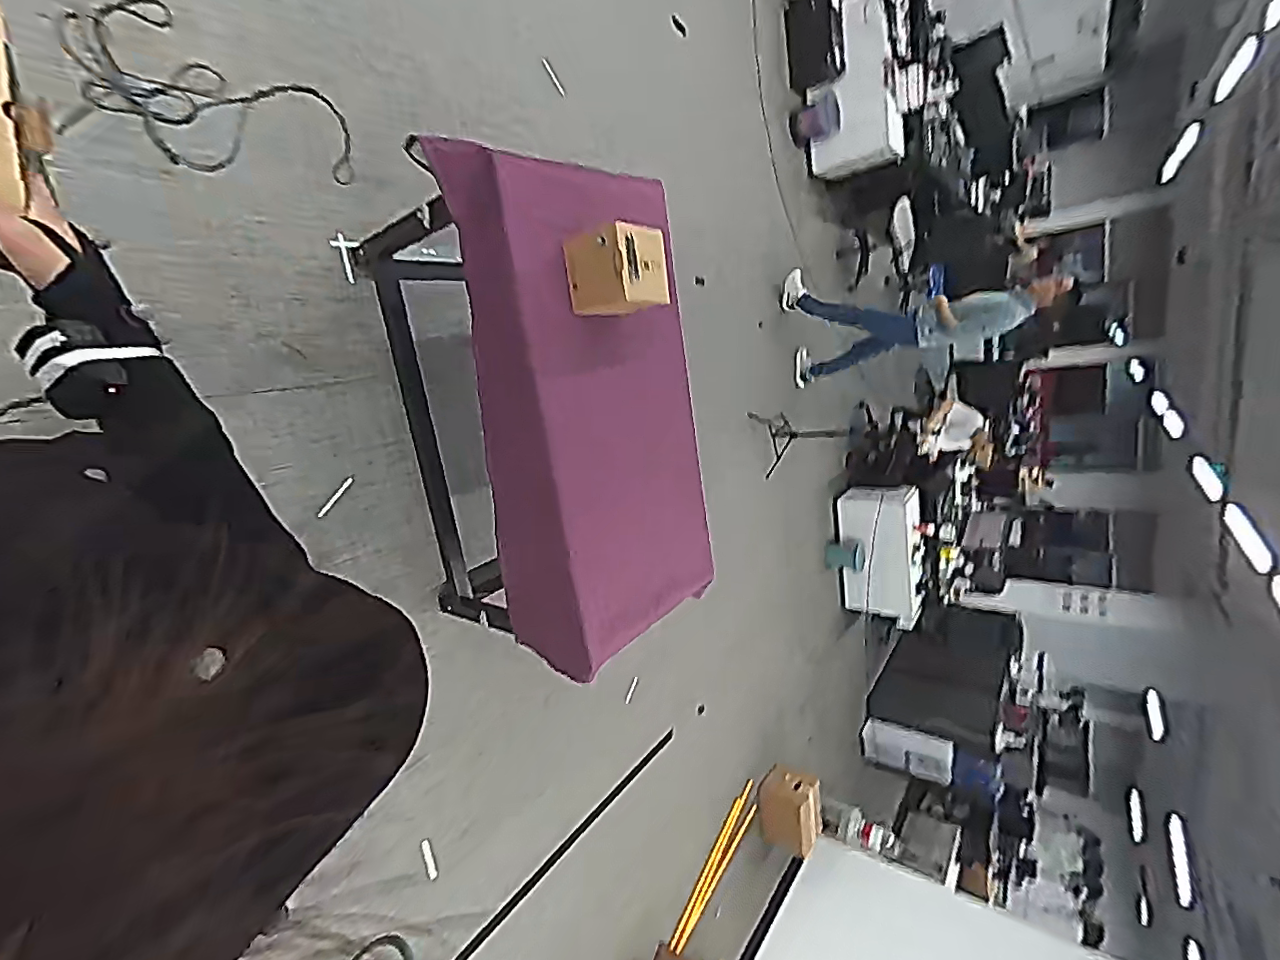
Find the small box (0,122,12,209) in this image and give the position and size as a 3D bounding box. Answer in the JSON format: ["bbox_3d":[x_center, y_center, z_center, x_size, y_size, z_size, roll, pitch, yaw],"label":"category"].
[{"bbox_3d":[-0.603,-0.275,0.381,0.179,0.176,0.168,-11,97,-59],"label":"small box"}]
